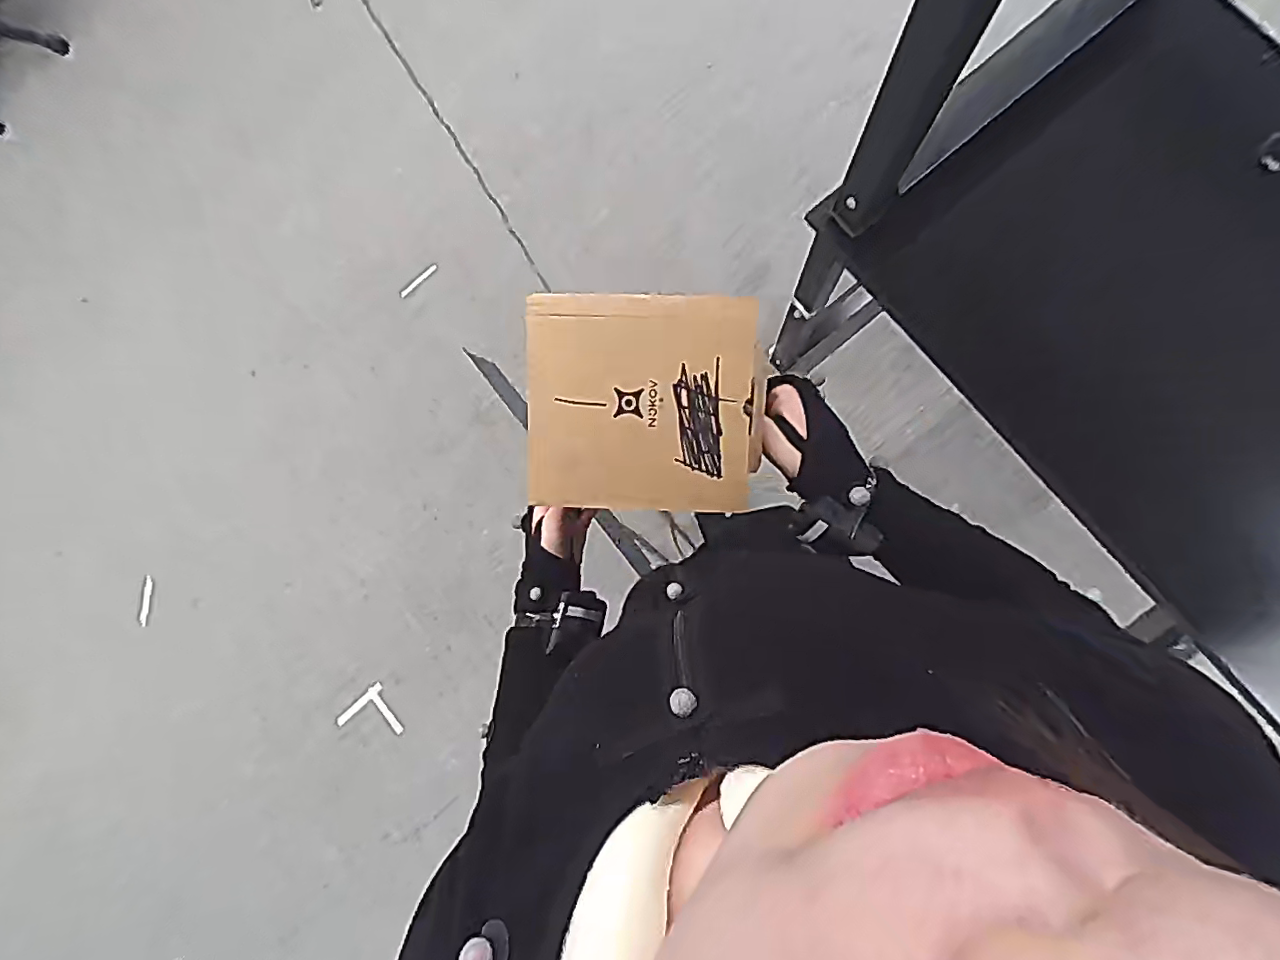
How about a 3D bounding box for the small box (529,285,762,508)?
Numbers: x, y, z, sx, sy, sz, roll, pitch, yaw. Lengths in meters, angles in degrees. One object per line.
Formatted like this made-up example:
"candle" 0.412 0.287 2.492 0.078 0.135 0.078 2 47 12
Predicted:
"small box" -0.002 -0.073 0.490 0.179 0.176 0.168 1 99 -4
